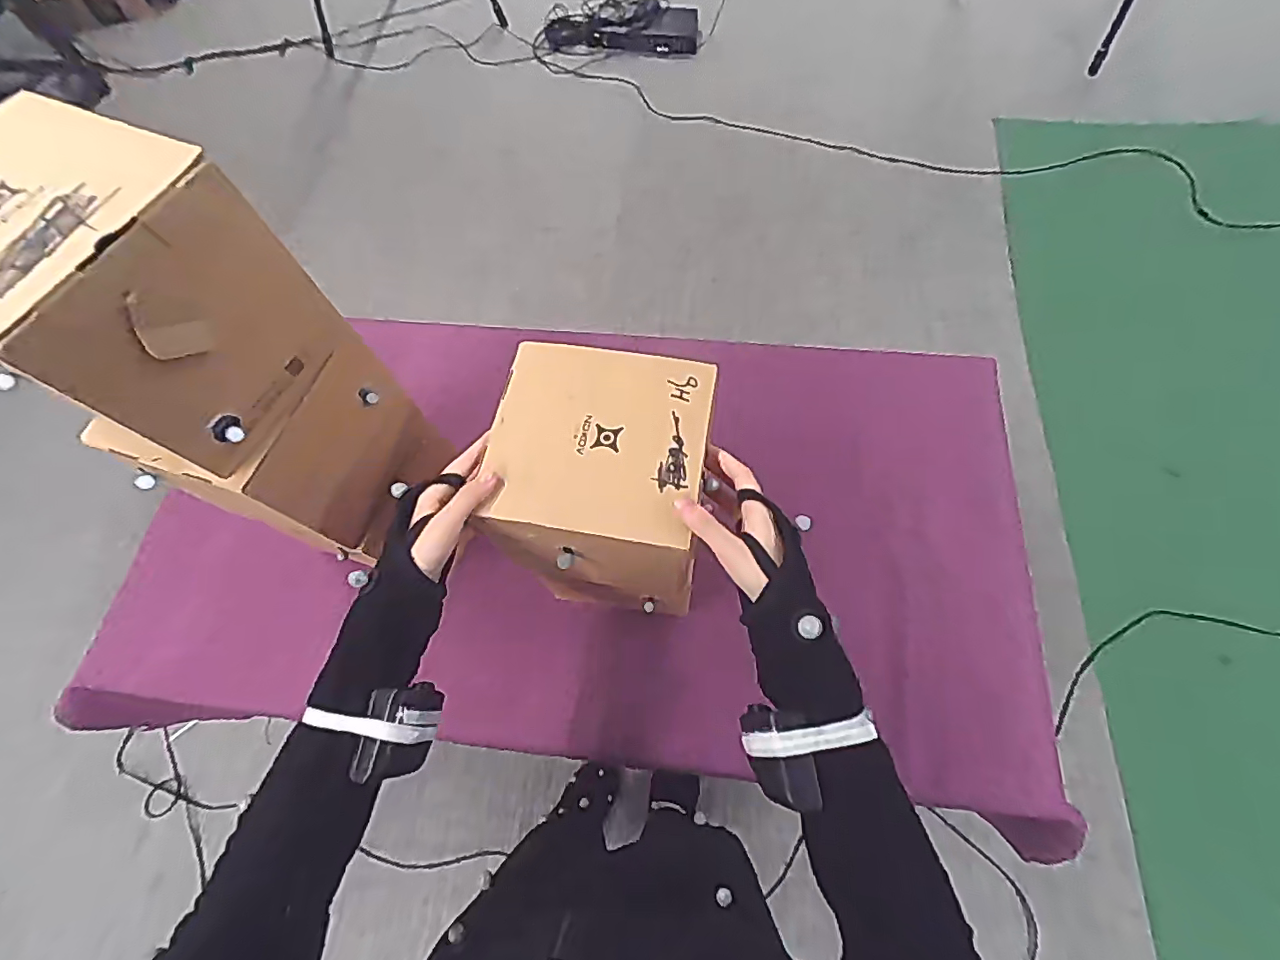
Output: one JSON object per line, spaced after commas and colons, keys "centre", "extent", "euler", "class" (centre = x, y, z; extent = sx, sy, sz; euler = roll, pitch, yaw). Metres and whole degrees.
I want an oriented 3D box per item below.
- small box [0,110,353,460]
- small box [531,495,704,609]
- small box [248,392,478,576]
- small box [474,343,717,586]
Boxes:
{"centre": [-0.370, -0.136, 0.419], "extent": [0.179, 0.176, 0.168], "euler": [22, 68, 13], "class": "small box"}
{"centre": [-0.016, 0.057, 0.672], "extent": [0.179, 0.176, 0.168], "euler": [7, 66, 7], "class": "small box"}
{"centre": [-0.344, 0.014, 0.711], "extent": [0.179, 0.176, 0.168], "euler": [16, 68, 9], "class": "small box"}
{"centre": [-0.027, -0.007, 0.519], "extent": [0.179, 0.176, 0.168], "euler": [8, 66, 8], "class": "small box"}
